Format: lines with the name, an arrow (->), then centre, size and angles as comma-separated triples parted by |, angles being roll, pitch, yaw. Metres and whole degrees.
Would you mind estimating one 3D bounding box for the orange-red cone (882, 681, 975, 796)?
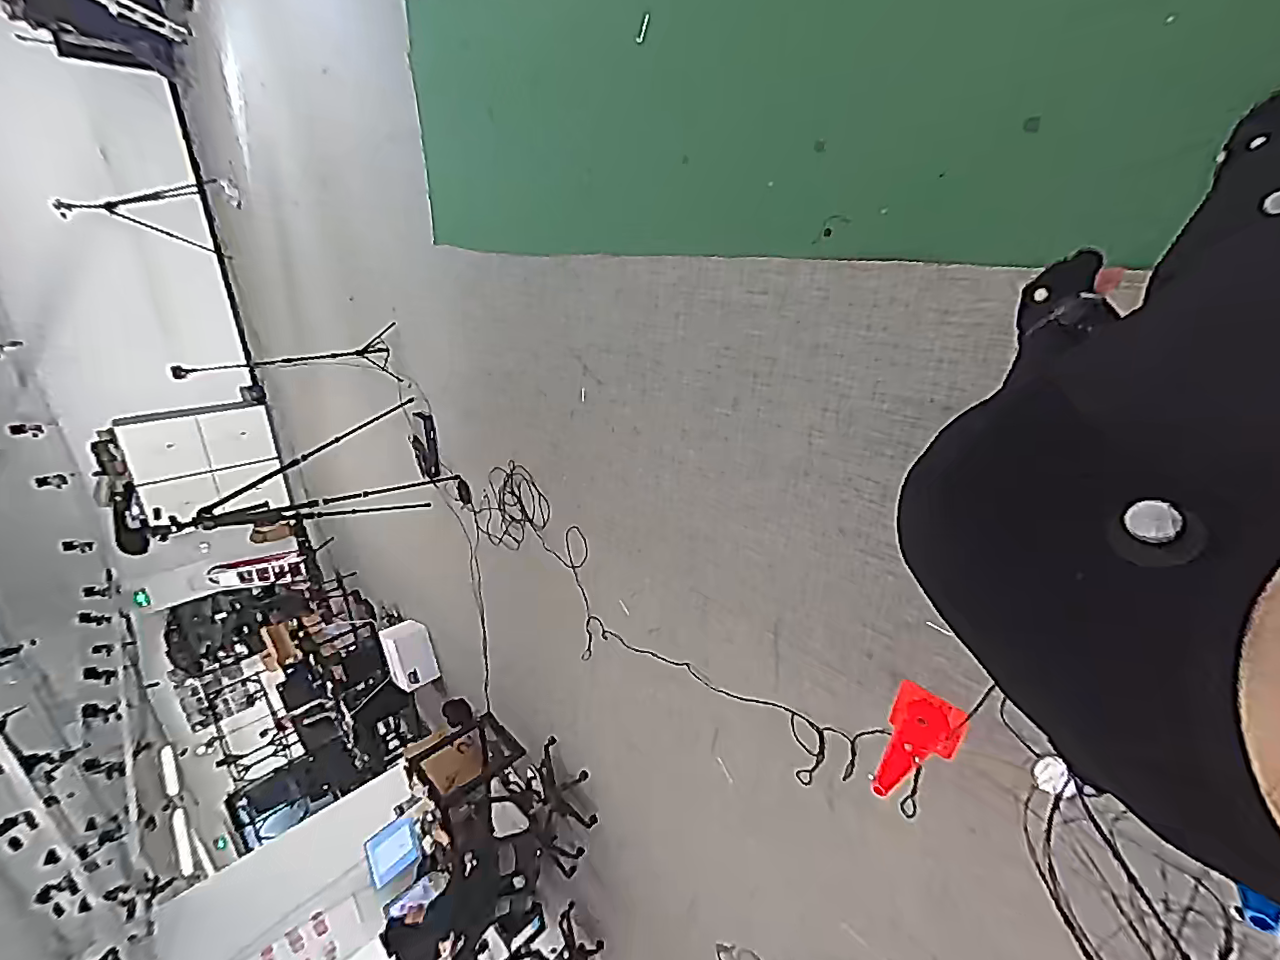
orange-red cone -> 0.793, 0.787, 1.572 | 0.198, 0.360, 0.199 | 27, 123, 38
